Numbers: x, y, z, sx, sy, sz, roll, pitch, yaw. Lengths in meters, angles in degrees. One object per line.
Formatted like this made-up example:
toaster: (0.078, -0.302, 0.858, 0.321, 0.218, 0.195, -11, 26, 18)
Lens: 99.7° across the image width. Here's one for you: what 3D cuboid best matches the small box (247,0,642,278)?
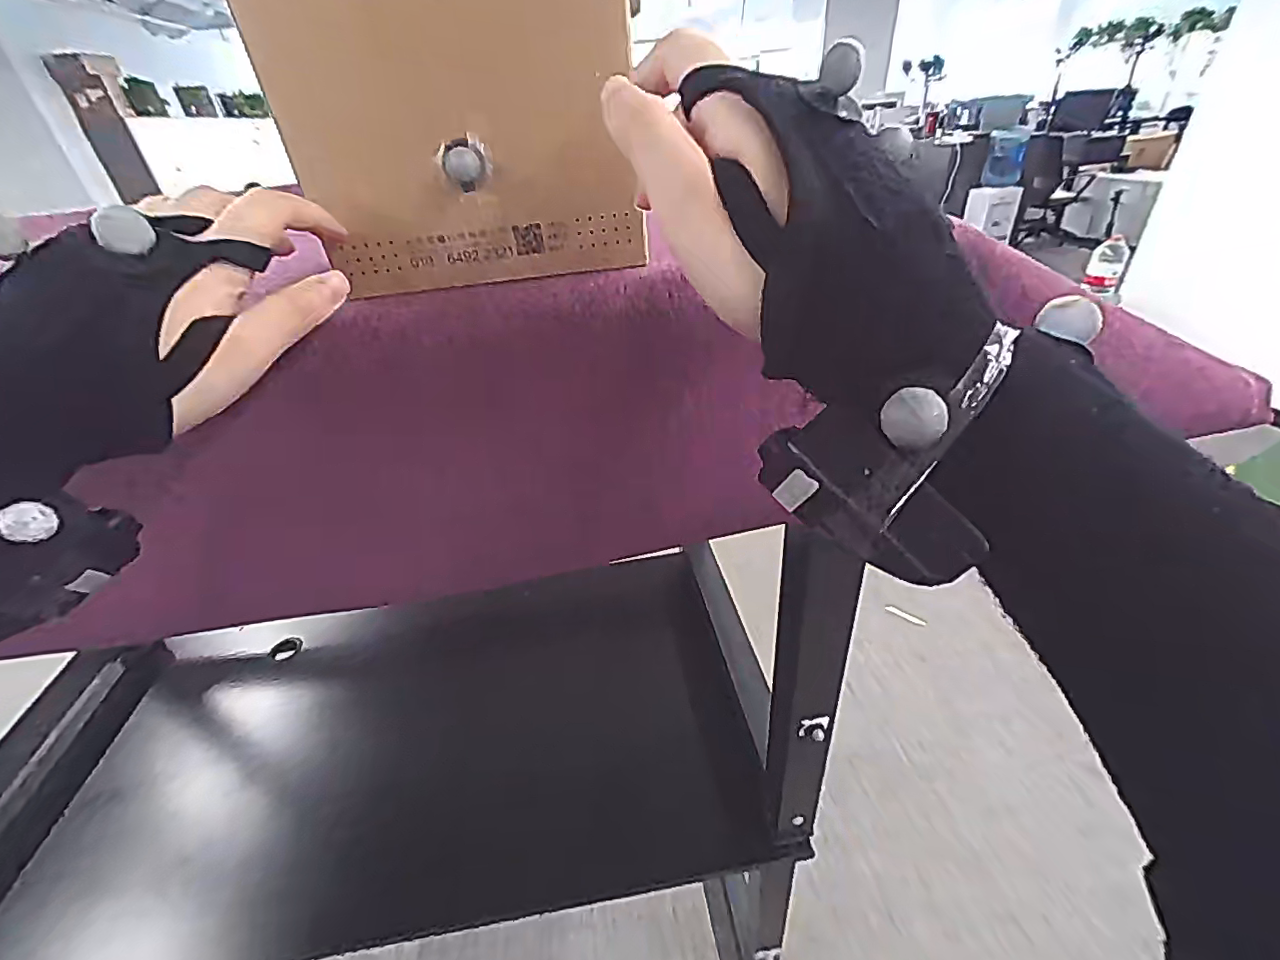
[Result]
small box: (-0.091, -0.224, 0.310, 0.168, 0.176, 0.179, -7, 34, -1)
